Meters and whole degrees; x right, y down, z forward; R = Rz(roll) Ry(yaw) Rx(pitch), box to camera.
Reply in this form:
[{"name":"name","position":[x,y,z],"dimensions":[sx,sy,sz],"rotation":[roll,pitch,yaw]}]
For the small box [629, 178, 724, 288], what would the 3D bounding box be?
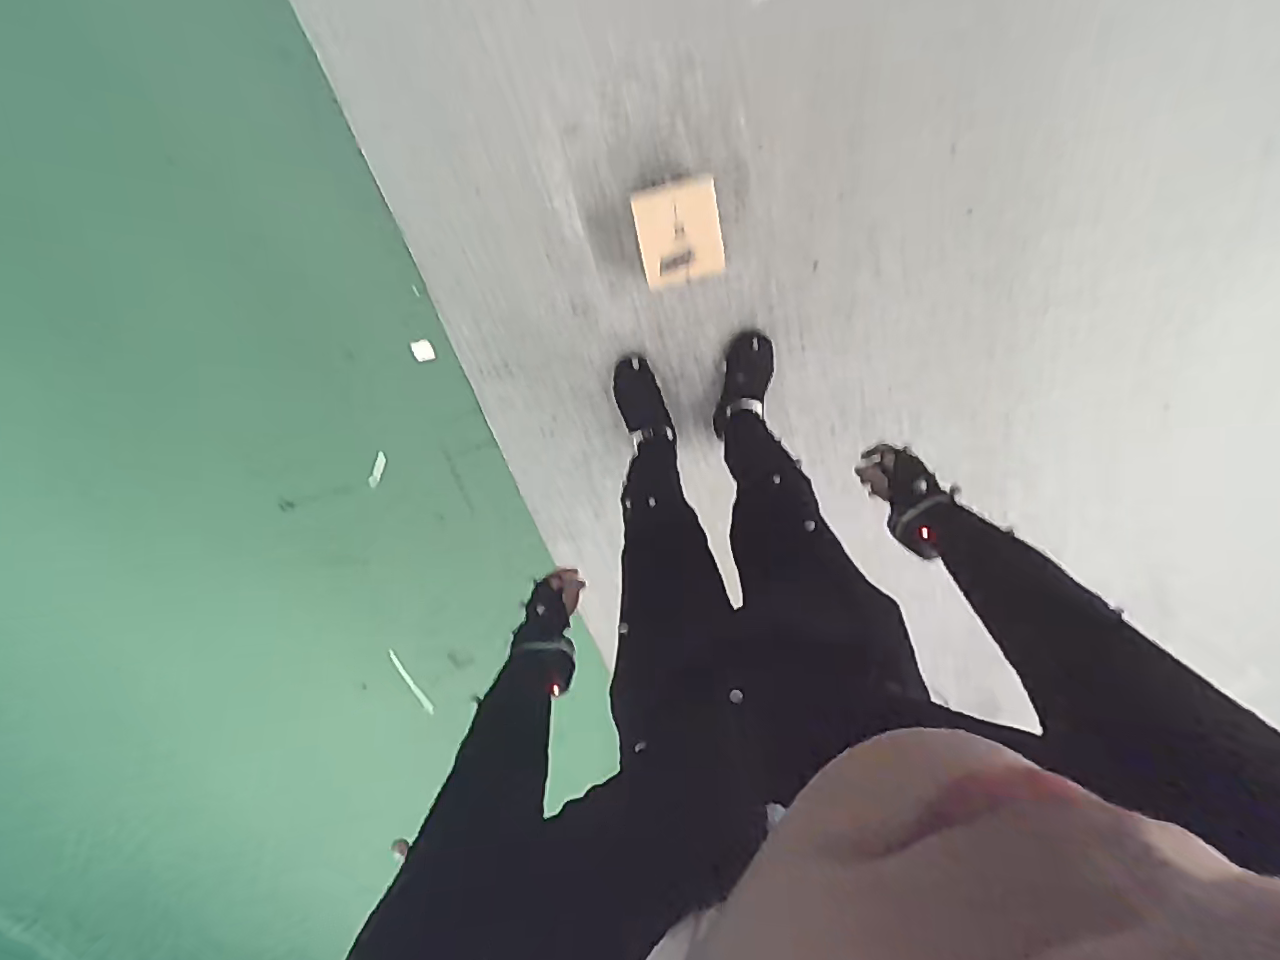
[{"name":"small box","position":[0.074,-0.522,1.140],"dimensions":[0.168,0.176,0.179],"rotation":[-12,116,3]}]
